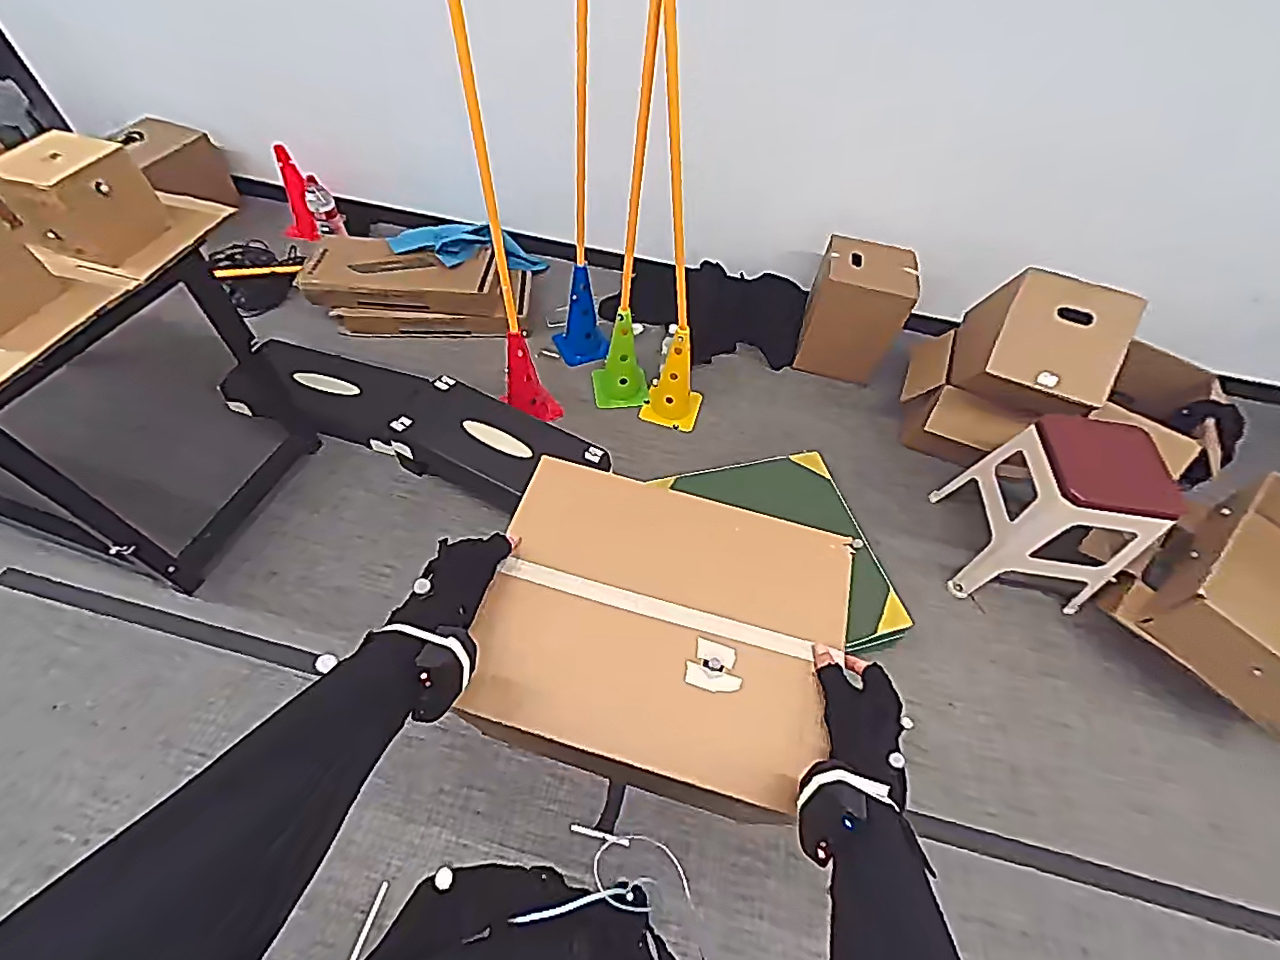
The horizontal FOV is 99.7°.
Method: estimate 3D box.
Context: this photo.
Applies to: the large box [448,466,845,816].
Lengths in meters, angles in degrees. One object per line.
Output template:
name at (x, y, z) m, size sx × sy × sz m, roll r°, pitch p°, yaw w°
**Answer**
large box at (0.017, 0.230, 0.744) m, size 0.408 × 0.320 × 0.320 m, roll 16°, pitch 59°, yaw 5°
